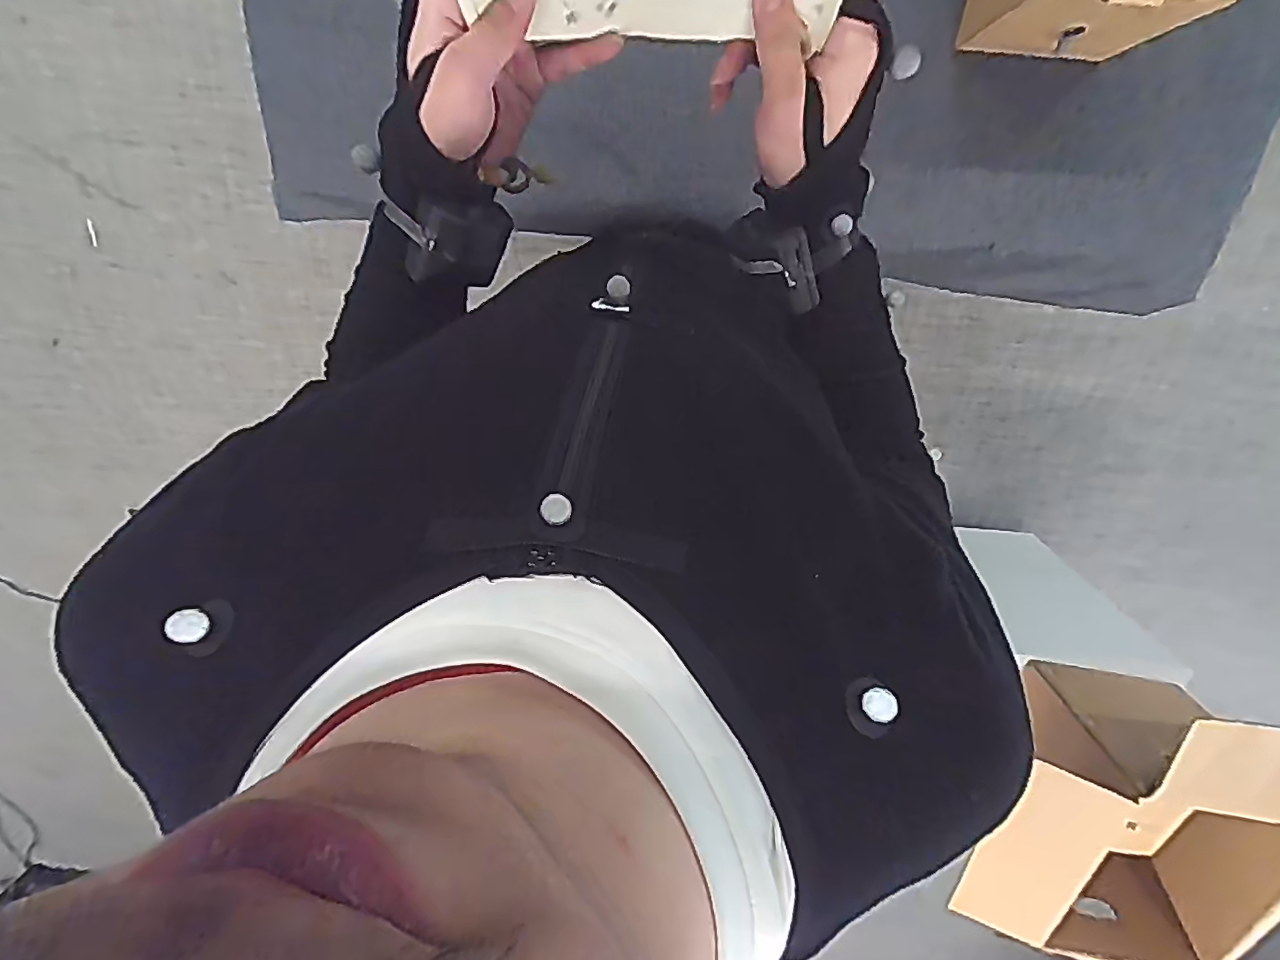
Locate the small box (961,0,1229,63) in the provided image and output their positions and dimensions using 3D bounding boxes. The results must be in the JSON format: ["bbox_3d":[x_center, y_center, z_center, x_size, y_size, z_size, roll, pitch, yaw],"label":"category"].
[{"bbox_3d":[0.436,-0.518,0.505,0.168,0.176,0.179,6,115,2],"label":"small box"}]
